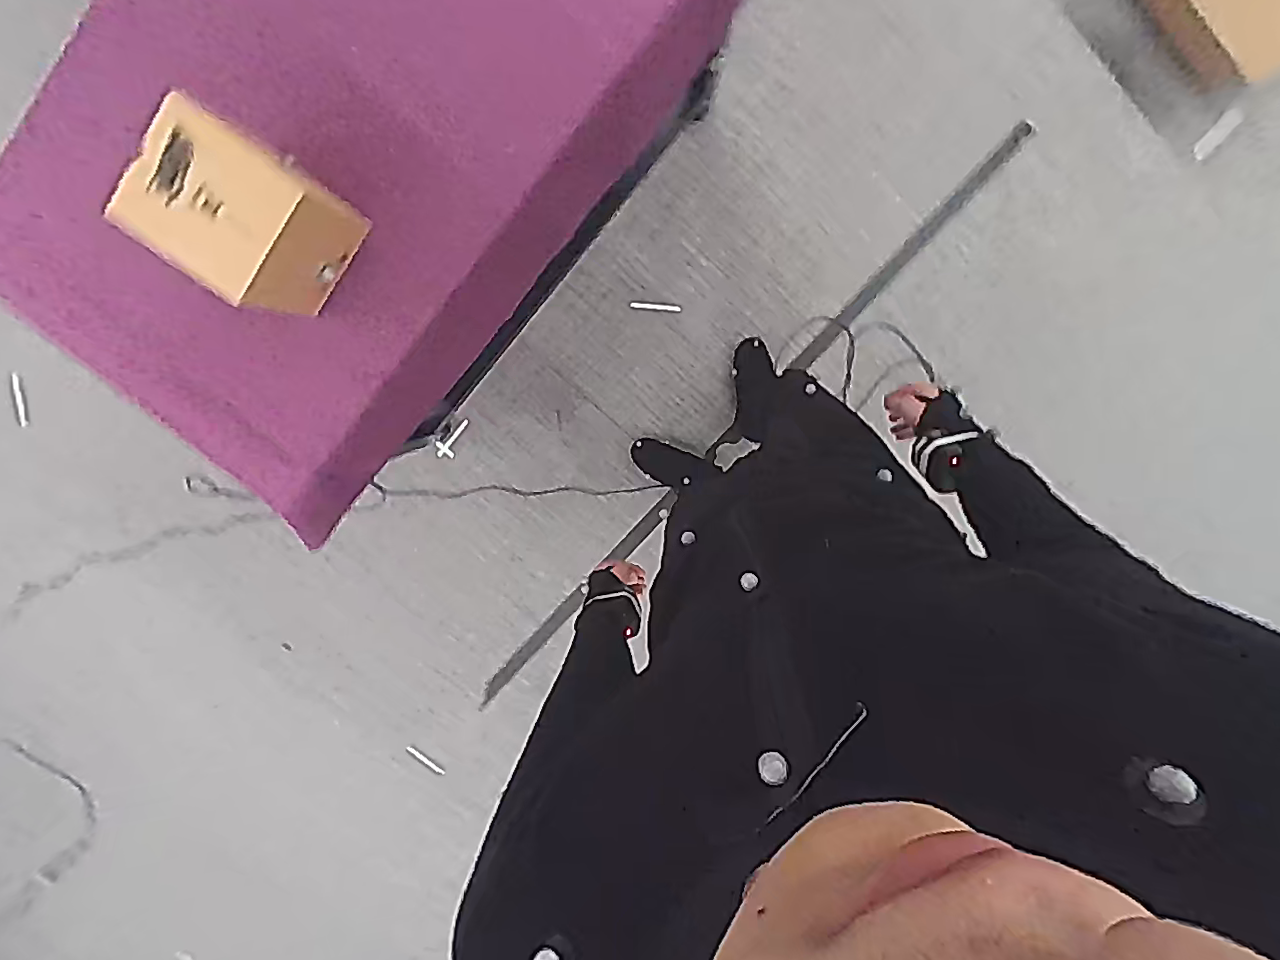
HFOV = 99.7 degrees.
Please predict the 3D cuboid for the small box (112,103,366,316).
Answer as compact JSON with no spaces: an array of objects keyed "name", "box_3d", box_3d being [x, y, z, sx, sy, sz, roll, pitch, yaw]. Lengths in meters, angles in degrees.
[{"name":"small box","box_3d":[-0.513,-0.336,0.720,0.179,0.176,0.168,36,99,-7]}]
